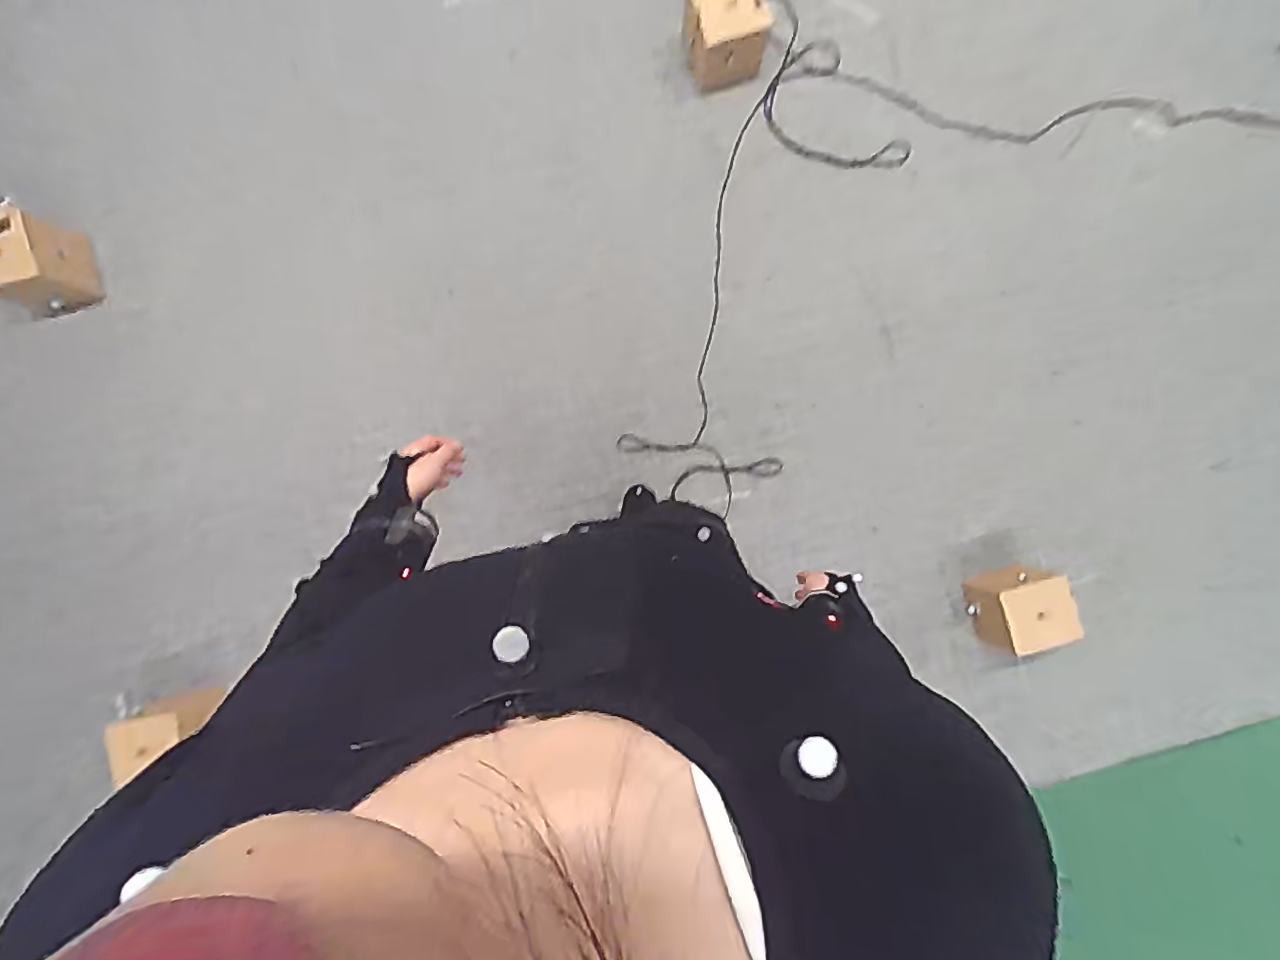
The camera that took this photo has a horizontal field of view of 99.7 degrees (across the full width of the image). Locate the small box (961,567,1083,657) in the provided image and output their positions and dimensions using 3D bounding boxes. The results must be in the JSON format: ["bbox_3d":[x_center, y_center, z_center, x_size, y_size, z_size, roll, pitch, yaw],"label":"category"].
[{"bbox_3d":[0.985,0.335,1.406,0.179,0.176,0.168,-17,88,1],"label":"small box"}]

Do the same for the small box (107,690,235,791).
[{"bbox_3d":[-1.200,0.663,1.394,0.179,0.176,0.168,-10,90,-1],"label":"small box"}]

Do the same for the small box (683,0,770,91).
[{"bbox_3d":[0.215,-1.161,1.405,0.179,0.176,0.168,-18,90,1],"label":"small box"}]

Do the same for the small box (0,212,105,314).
[{"bbox_3d":[-1.561,-0.555,1.401,0.168,0.176,0.179,-15,91,-1],"label":"small box"}]
